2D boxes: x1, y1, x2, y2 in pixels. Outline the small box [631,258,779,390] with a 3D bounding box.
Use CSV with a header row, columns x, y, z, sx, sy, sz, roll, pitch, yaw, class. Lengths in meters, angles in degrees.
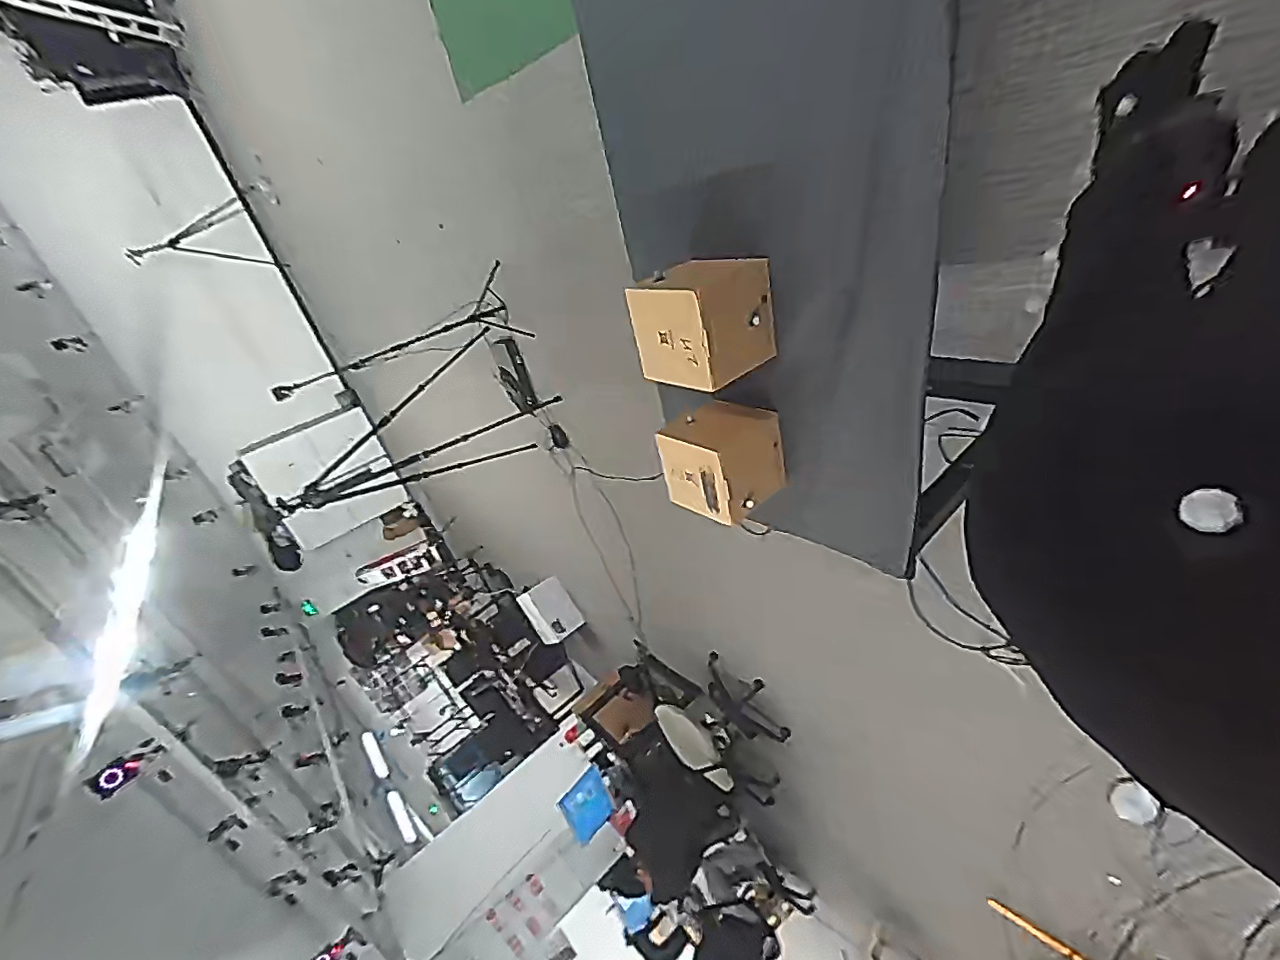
x,y,z,sx,sy,sz,roll,pitch,yaw,class
0.115,-0.275,0.932,0.179,0.176,0.168,22,137,46,small box
